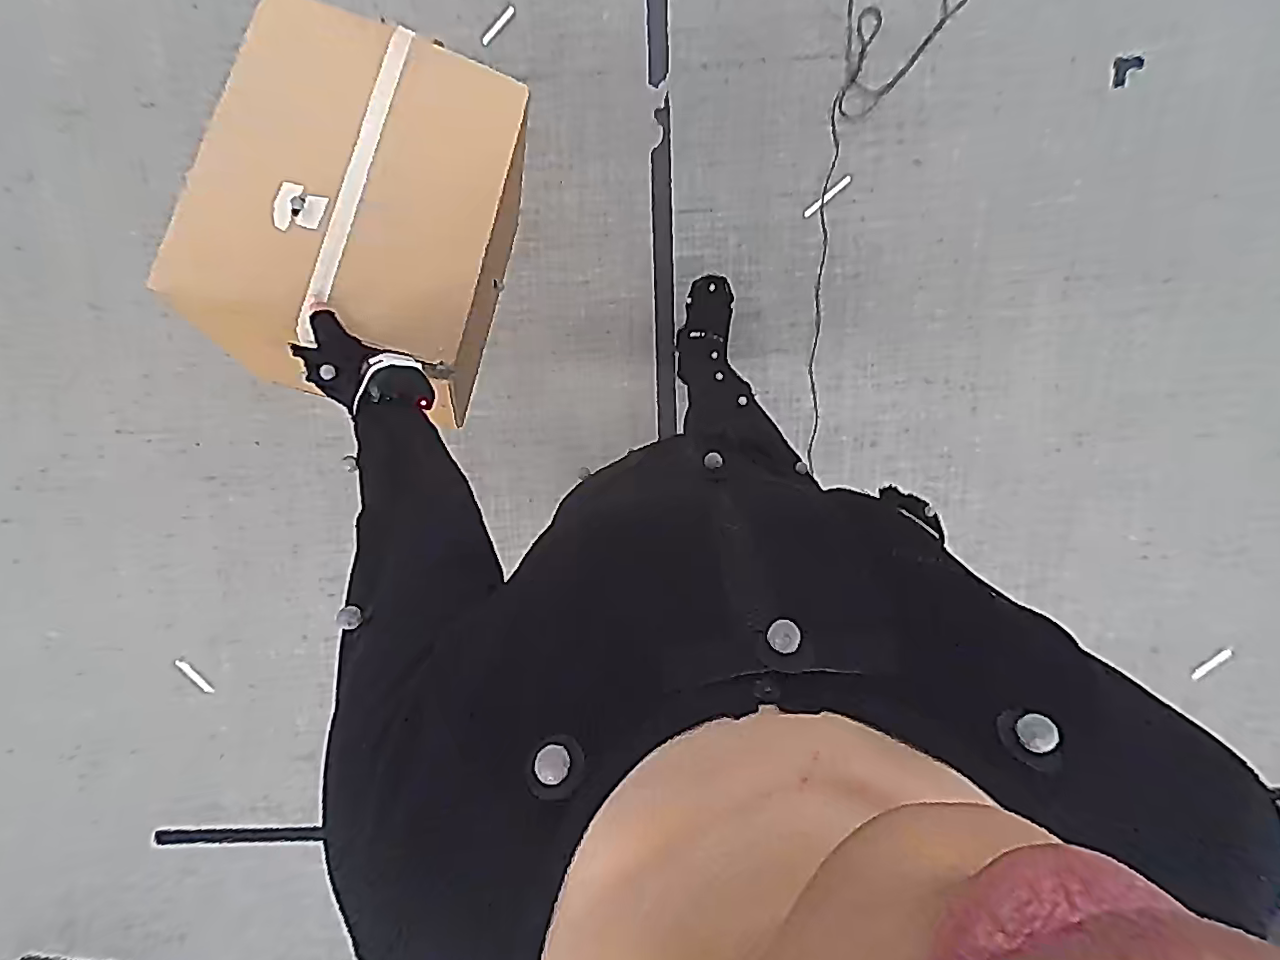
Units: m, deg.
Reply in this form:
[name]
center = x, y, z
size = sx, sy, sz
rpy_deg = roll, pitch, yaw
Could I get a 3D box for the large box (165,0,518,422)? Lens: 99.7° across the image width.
[large box]
center = -0.379, -0.339, 0.793
size = 0.320, 0.320, 0.408
rpy_deg = 13, 80, -13
